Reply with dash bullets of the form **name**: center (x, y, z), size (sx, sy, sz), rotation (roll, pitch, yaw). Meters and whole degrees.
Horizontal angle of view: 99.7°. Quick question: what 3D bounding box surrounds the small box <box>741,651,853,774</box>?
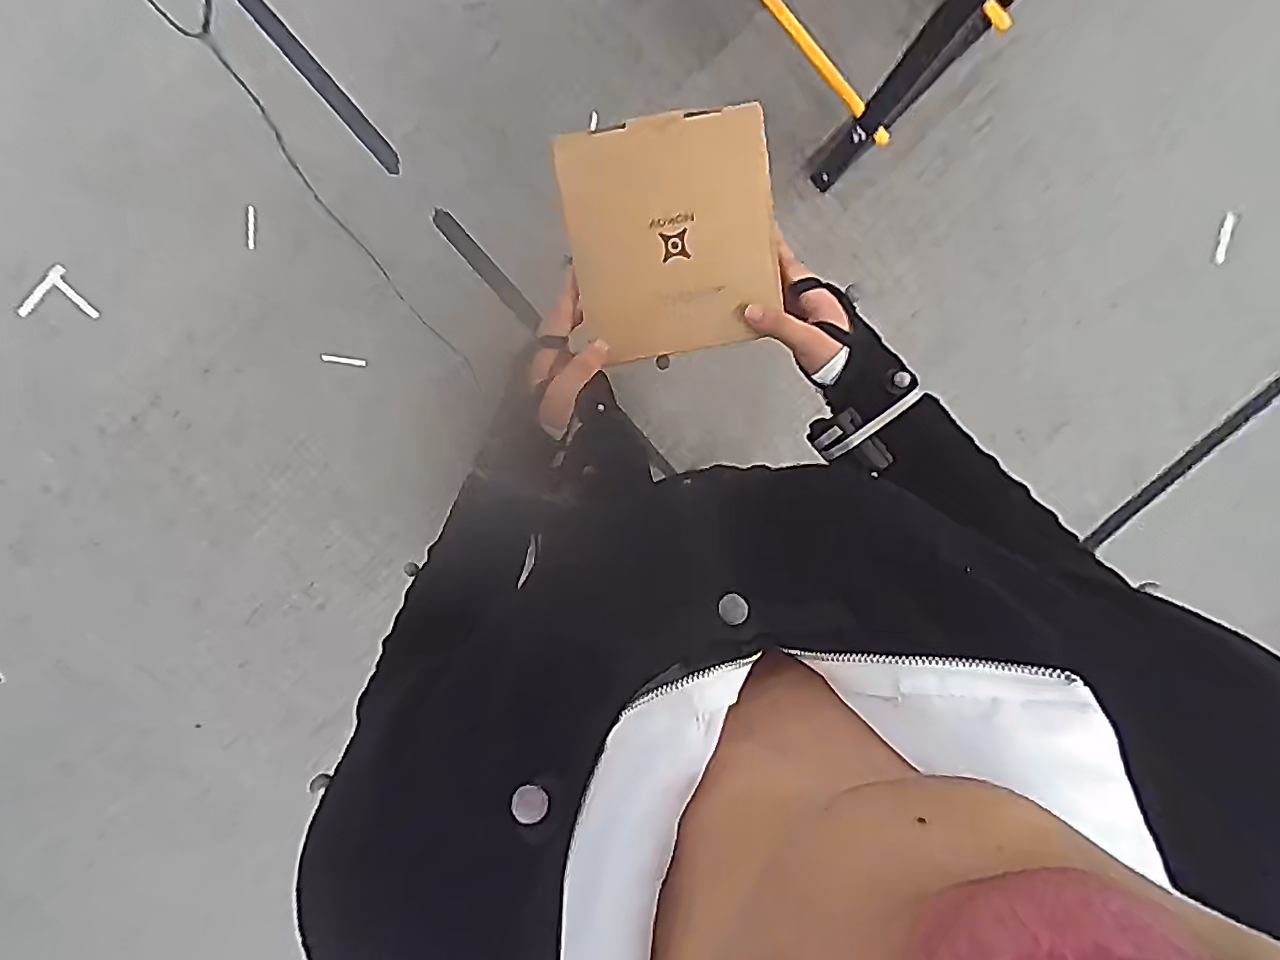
- **small box**: center (0.366, 0.548, 1.301), size (0.179, 0.176, 0.168), rotation (-45, 95, 6)

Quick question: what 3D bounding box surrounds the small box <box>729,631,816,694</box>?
- **small box**: center (0.363, 0.535, 1.467), size (0.168, 0.176, 0.179), rotation (-45, 94, 5)

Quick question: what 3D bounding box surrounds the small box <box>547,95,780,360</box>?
- **small box**: center (0.017, -0.212, 0.501), size (0.168, 0.176, 0.179), rotation (-10, 105, 0)
